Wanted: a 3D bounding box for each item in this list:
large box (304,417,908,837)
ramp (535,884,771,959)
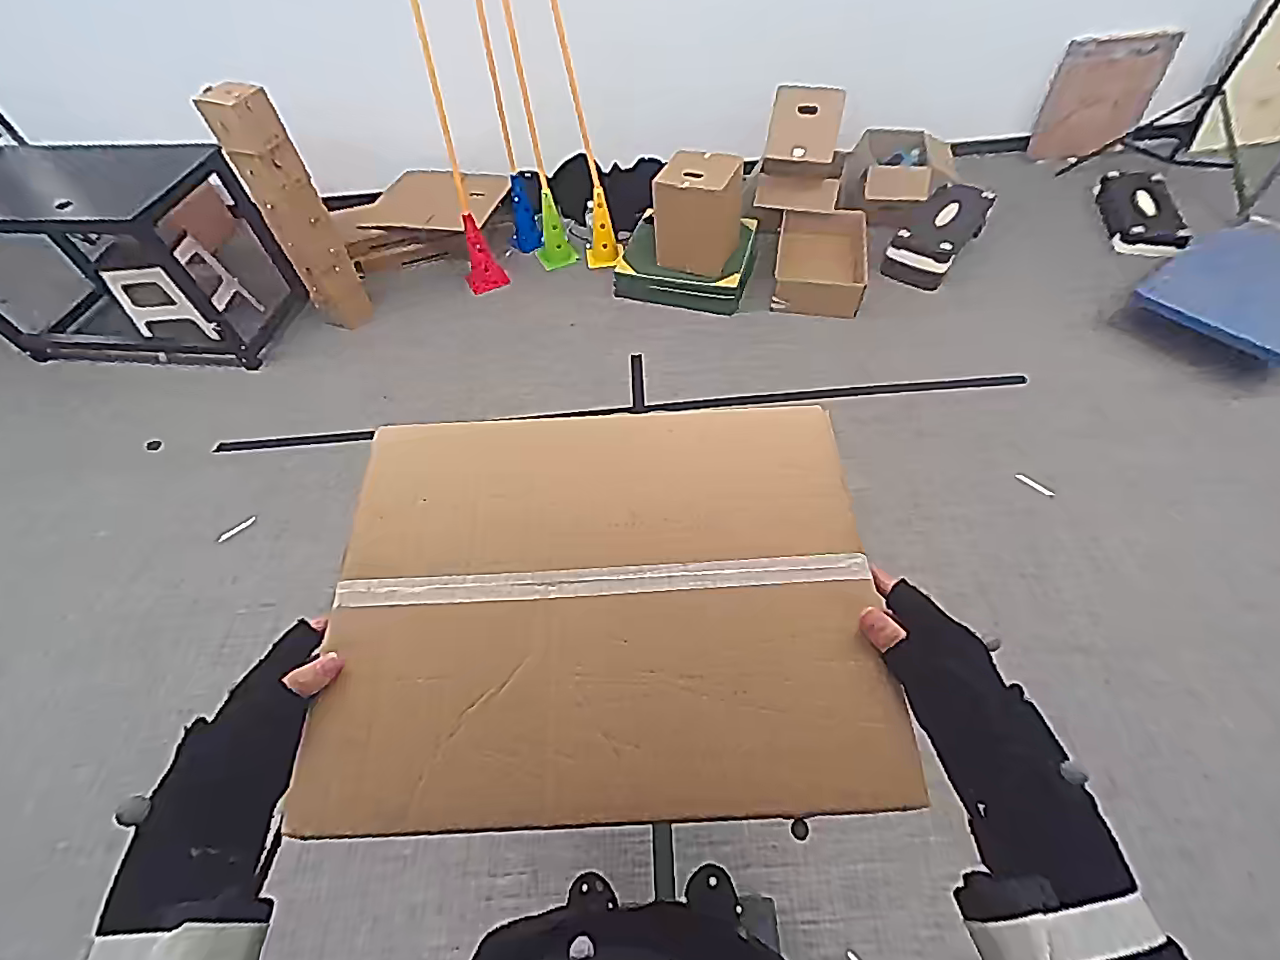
[{"bbox_3d":[-0.024,0.156,0.552,0.408,0.320,0.320,-2,60,0],"label":"large box"},{"bbox_3d":[0.049,1.337,0.954,0.509,0.206,0.991,-4,55,-2],"label":"ramp"}]
